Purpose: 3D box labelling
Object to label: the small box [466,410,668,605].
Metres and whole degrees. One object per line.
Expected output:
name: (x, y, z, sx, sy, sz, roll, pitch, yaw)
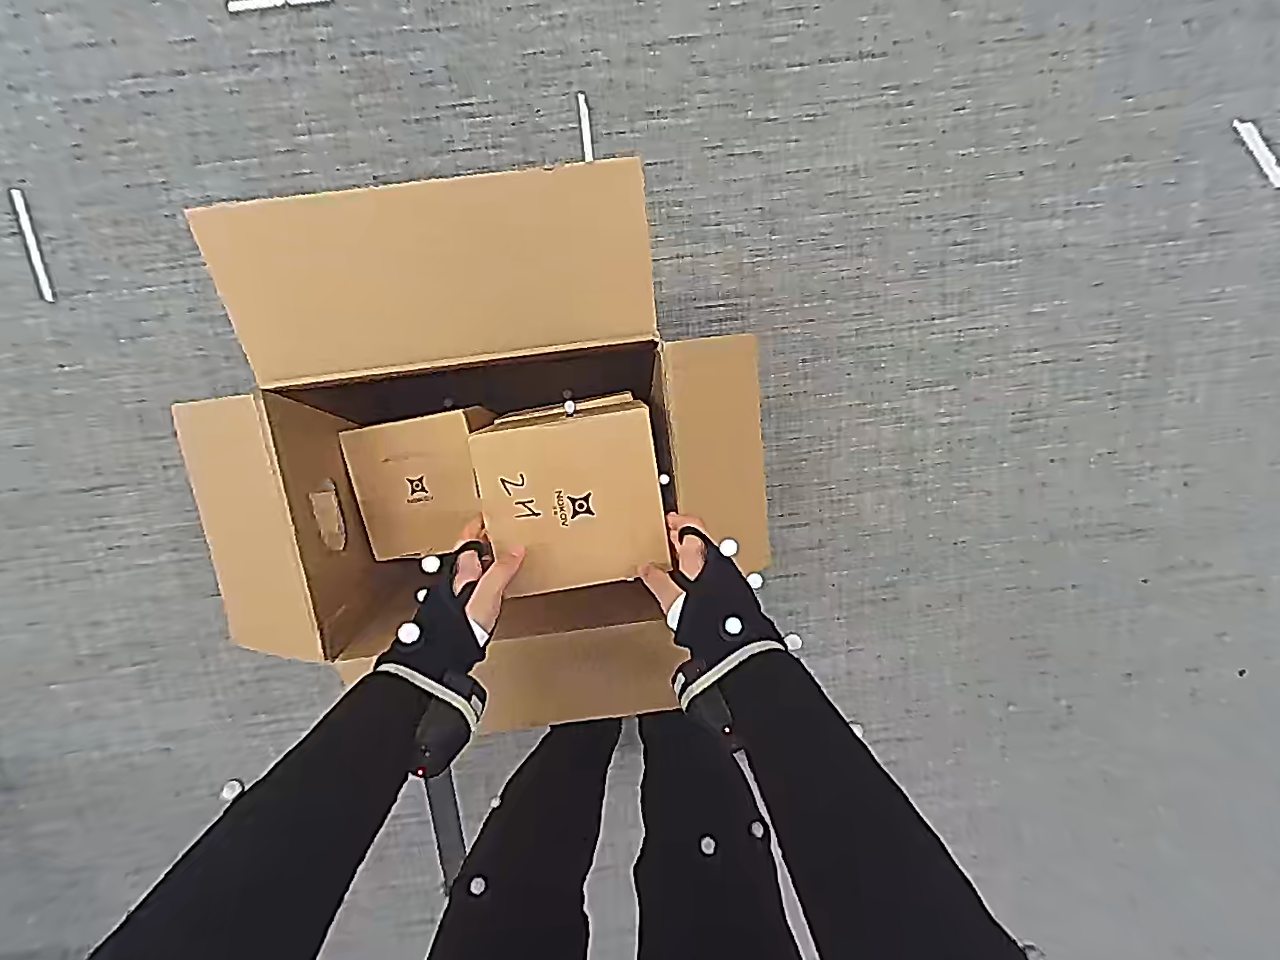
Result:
small box: (-0.072, 0.018, 0.605, 0.179, 0.176, 0.168, -9, 101, -1)
